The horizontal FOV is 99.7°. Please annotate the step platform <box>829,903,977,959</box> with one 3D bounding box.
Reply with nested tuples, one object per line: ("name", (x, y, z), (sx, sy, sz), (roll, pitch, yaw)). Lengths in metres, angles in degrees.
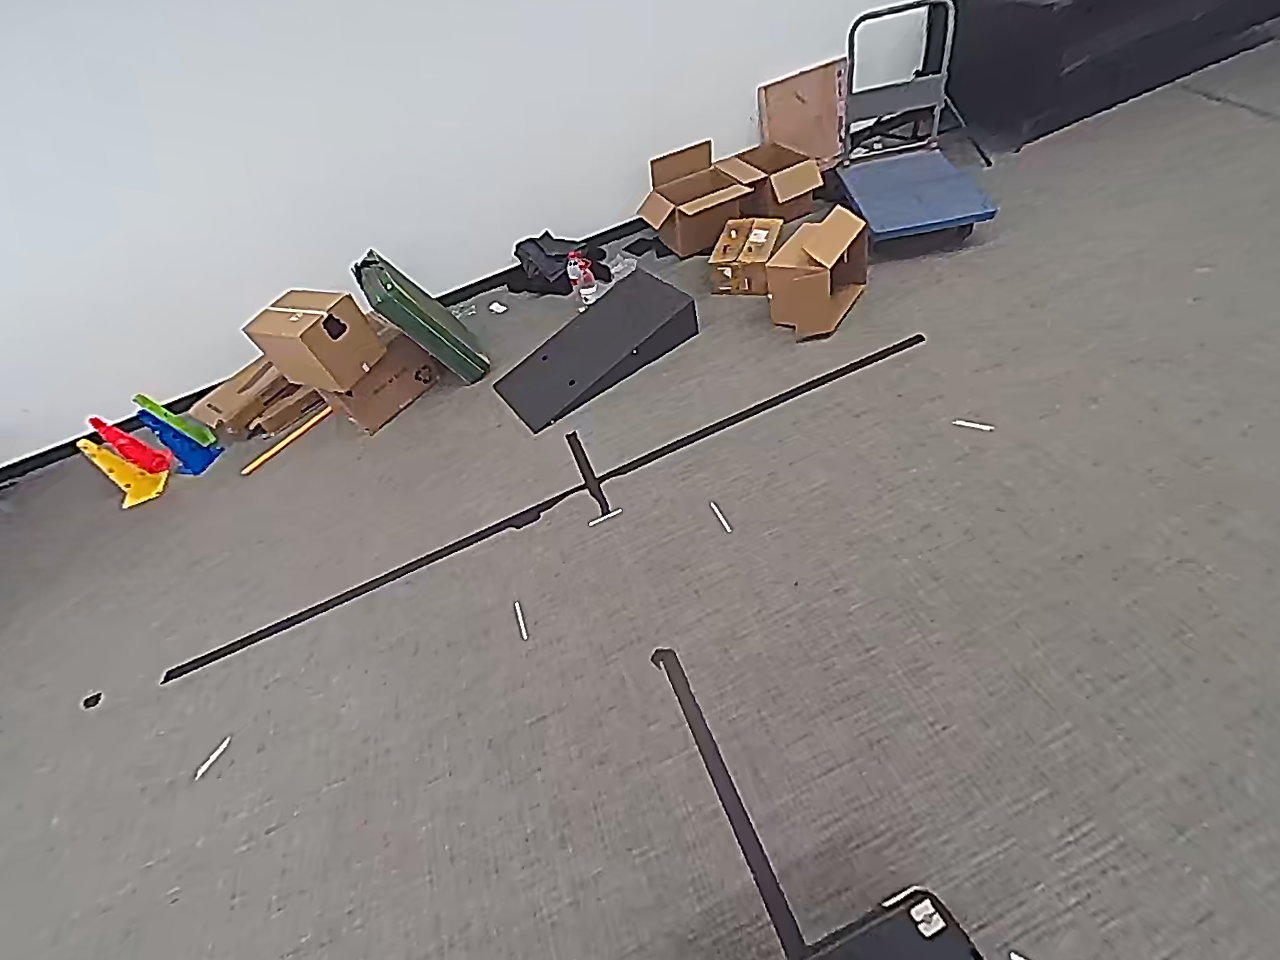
("step platform", (0.368, 1.117, 1.020), (0.684, 0.204, 0.286), (-24, 49, -7))
